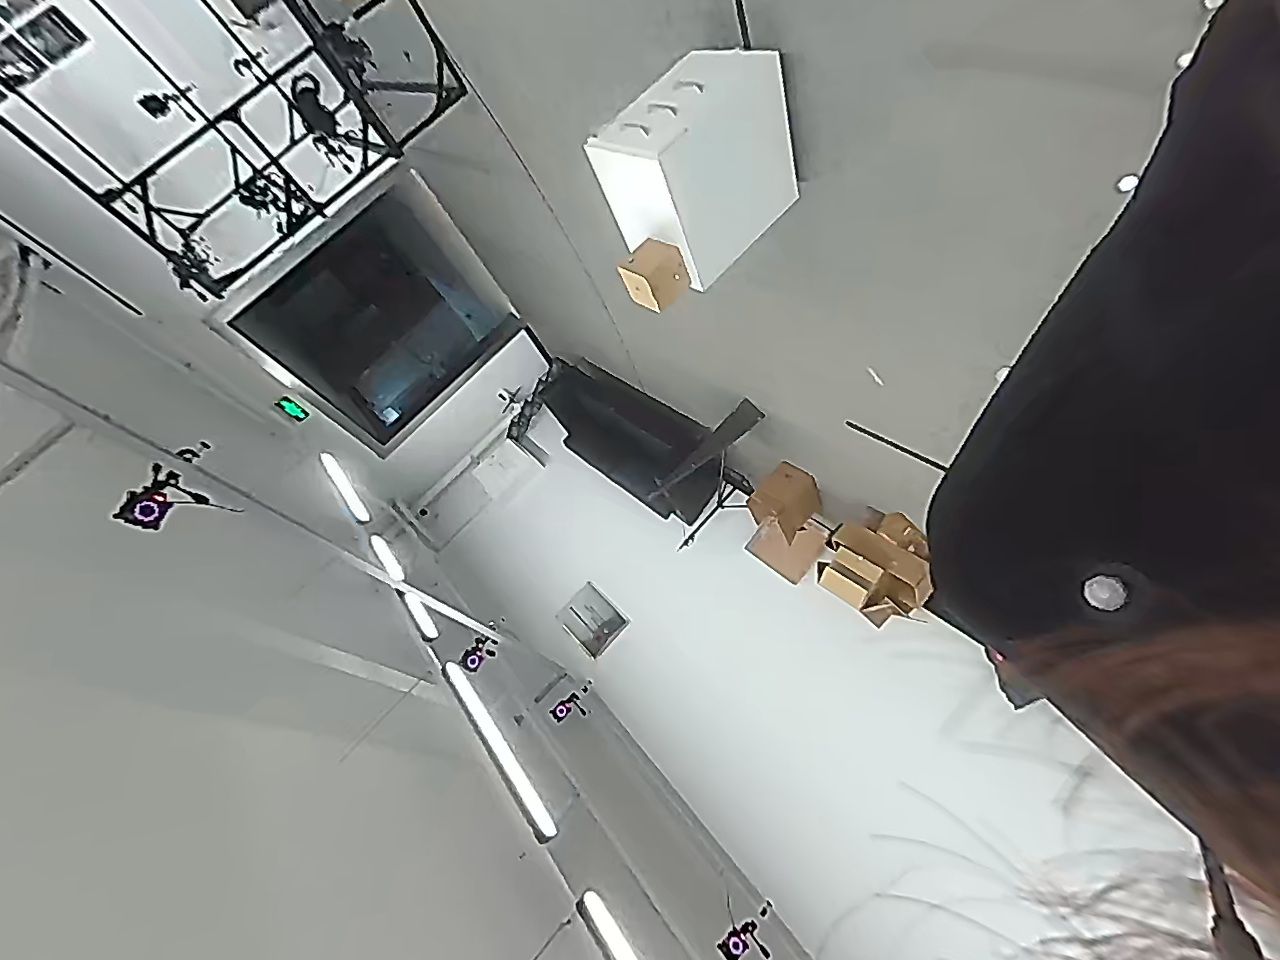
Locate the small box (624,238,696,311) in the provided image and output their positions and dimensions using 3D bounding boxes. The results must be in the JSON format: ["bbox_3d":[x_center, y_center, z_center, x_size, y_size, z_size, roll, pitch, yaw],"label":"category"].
[{"bbox_3d":[0.077,-0.762,1.995,0.179,0.176,0.168,38,170,39],"label":"small box"}]
